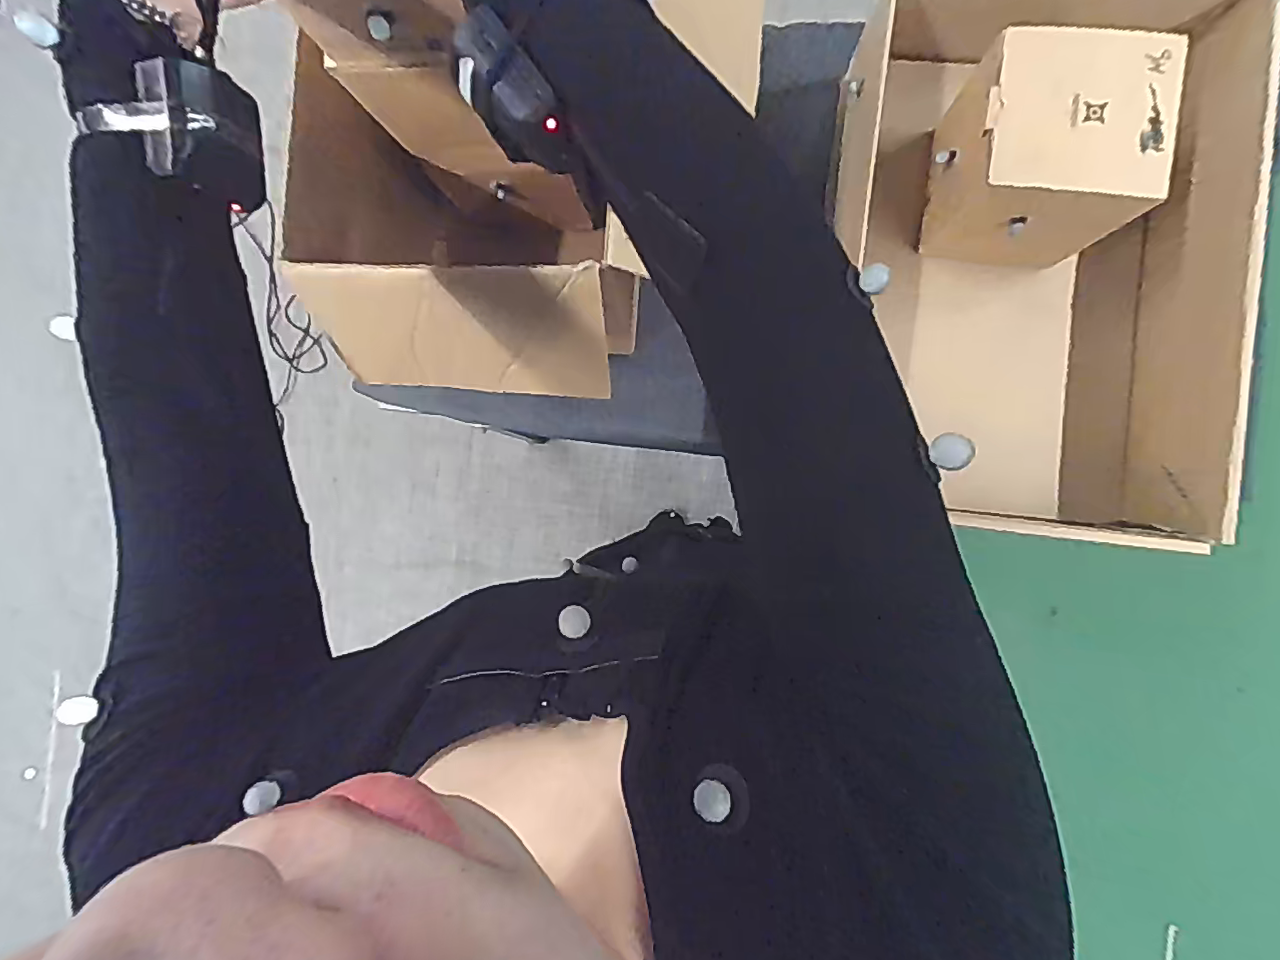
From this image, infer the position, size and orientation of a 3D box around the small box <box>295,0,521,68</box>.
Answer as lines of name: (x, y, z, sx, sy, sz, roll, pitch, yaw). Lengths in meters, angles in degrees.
small box: (-0.182, -0.435, 0.373, 0.168, 0.176, 0.179, 6, 94, 6)

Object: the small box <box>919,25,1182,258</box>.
small box: (0.448, -0.373, 0.624, 0.179, 0.176, 0.168, 7, 92, 6)
